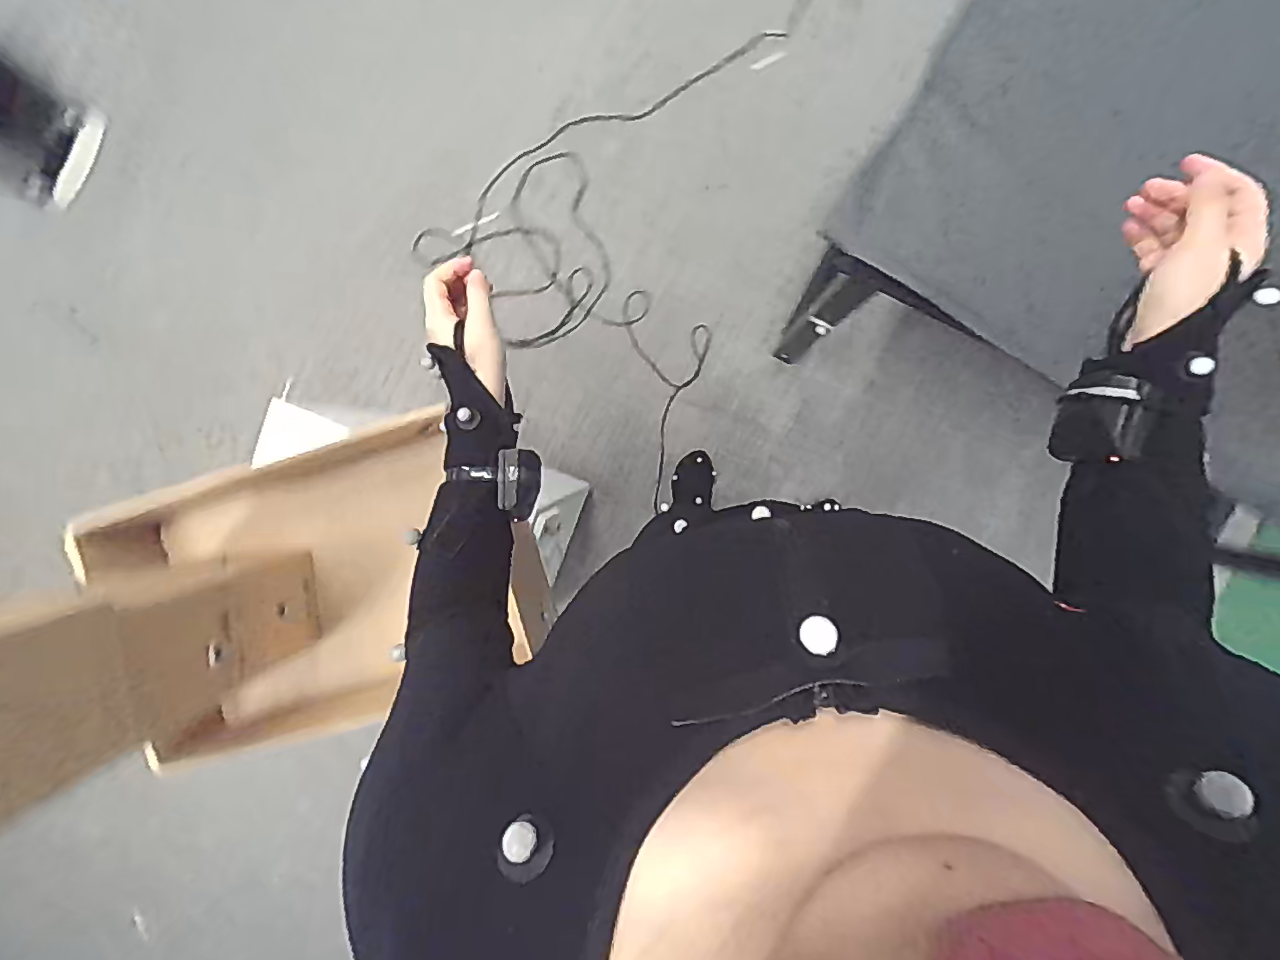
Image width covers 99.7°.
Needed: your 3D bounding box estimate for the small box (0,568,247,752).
[{"bbox_3d":[-0.641,0.212,0.675,0.179,0.176,0.168,-1,96,2],"label":"small box"}]
